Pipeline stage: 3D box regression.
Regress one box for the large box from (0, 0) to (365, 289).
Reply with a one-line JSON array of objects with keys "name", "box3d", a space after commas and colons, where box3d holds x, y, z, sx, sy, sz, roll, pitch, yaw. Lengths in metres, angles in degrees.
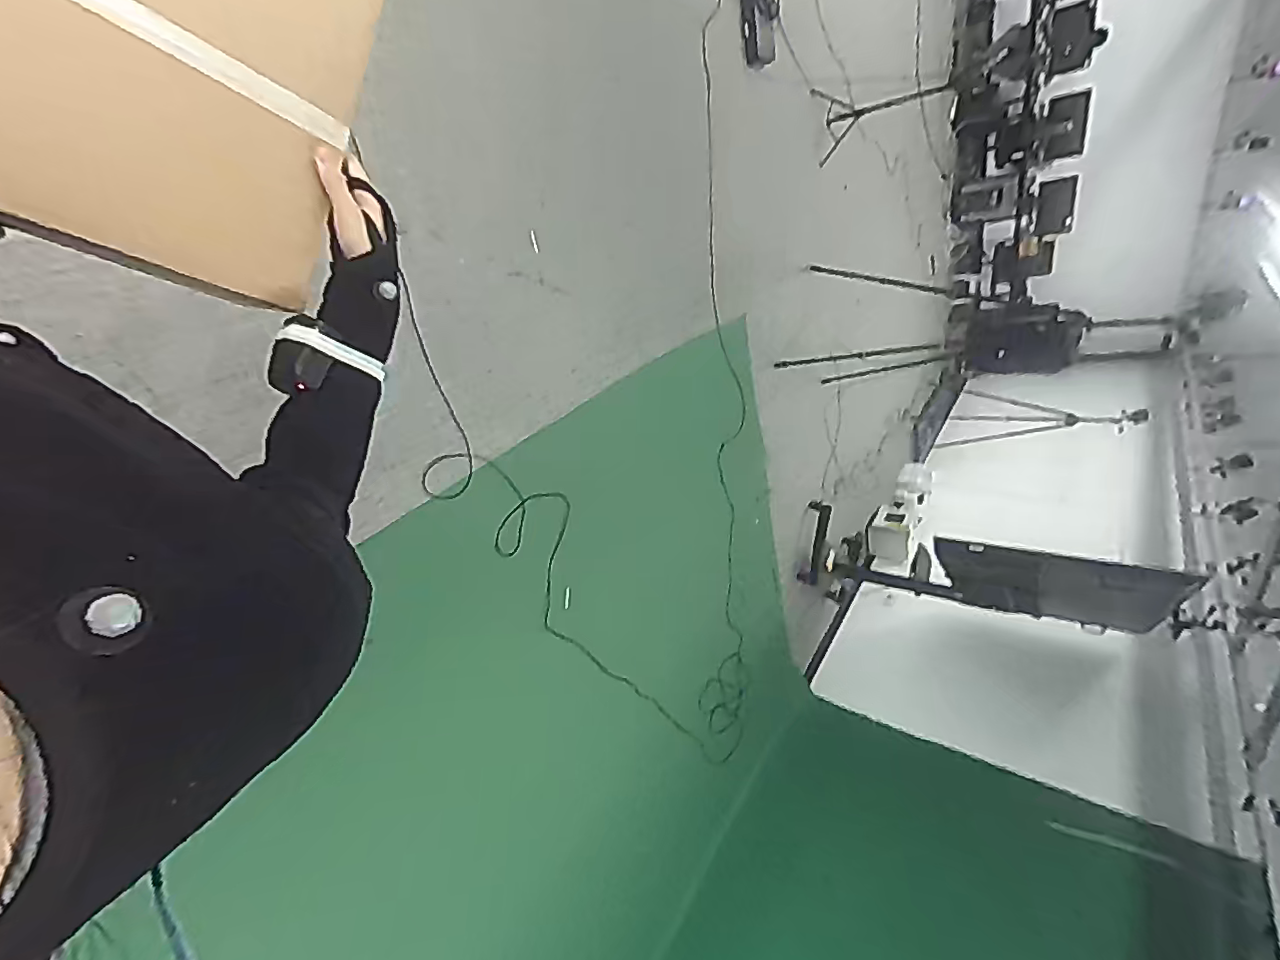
[{"name": "large box", "box3d": [-0.507, -0.388, 0.453, 0.408, 0.320, 0.320, 13, 97, -45]}]
